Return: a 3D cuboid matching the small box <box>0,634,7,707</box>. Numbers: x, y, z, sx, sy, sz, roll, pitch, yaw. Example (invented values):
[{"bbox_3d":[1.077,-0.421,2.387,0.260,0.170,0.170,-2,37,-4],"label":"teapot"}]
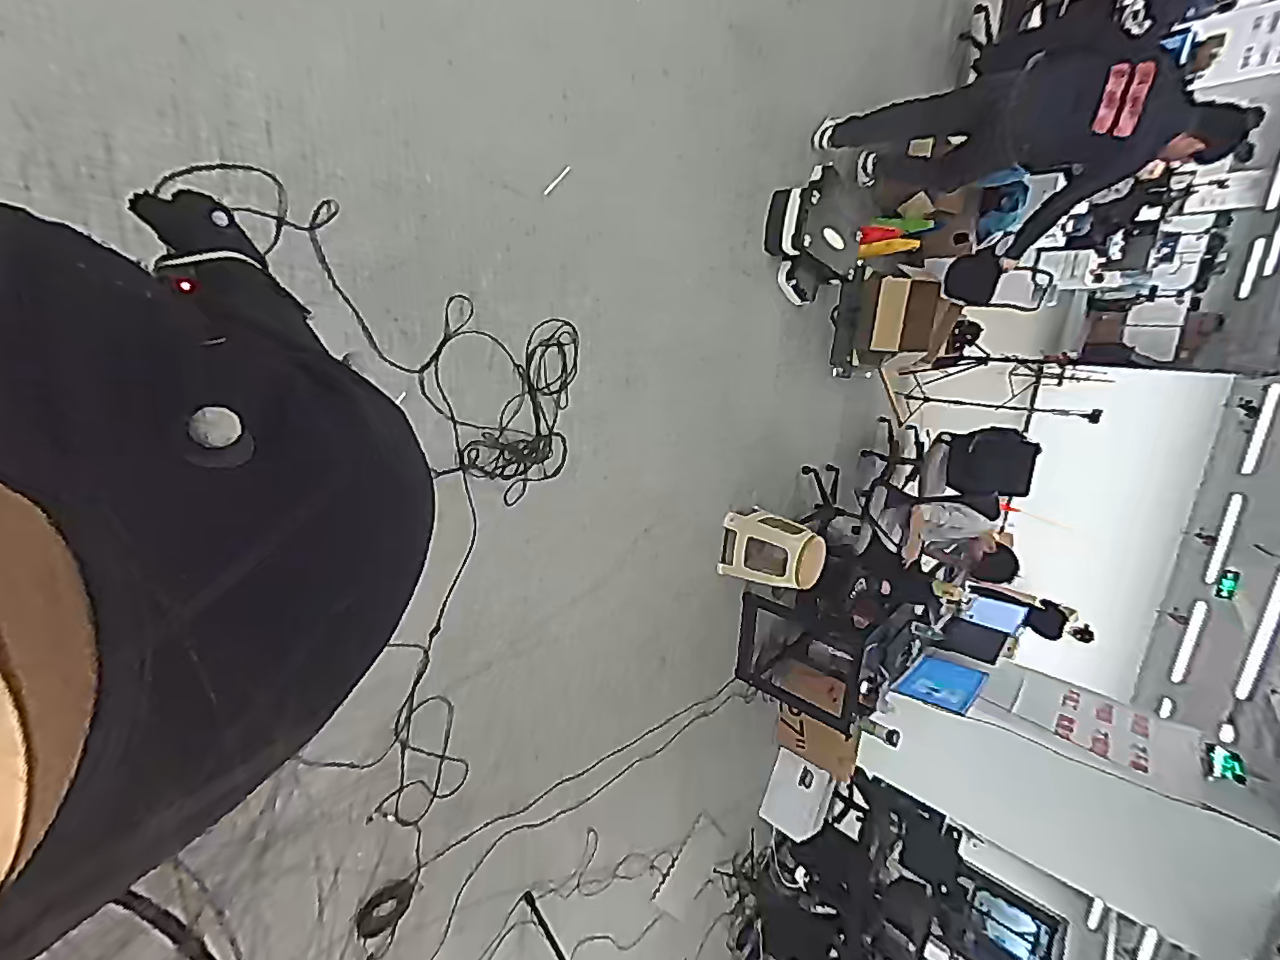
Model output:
[{"bbox_3d":[-1.210,0.302,0.911,0.168,0.176,0.179,-11,111,-47],"label":"small box"}]
